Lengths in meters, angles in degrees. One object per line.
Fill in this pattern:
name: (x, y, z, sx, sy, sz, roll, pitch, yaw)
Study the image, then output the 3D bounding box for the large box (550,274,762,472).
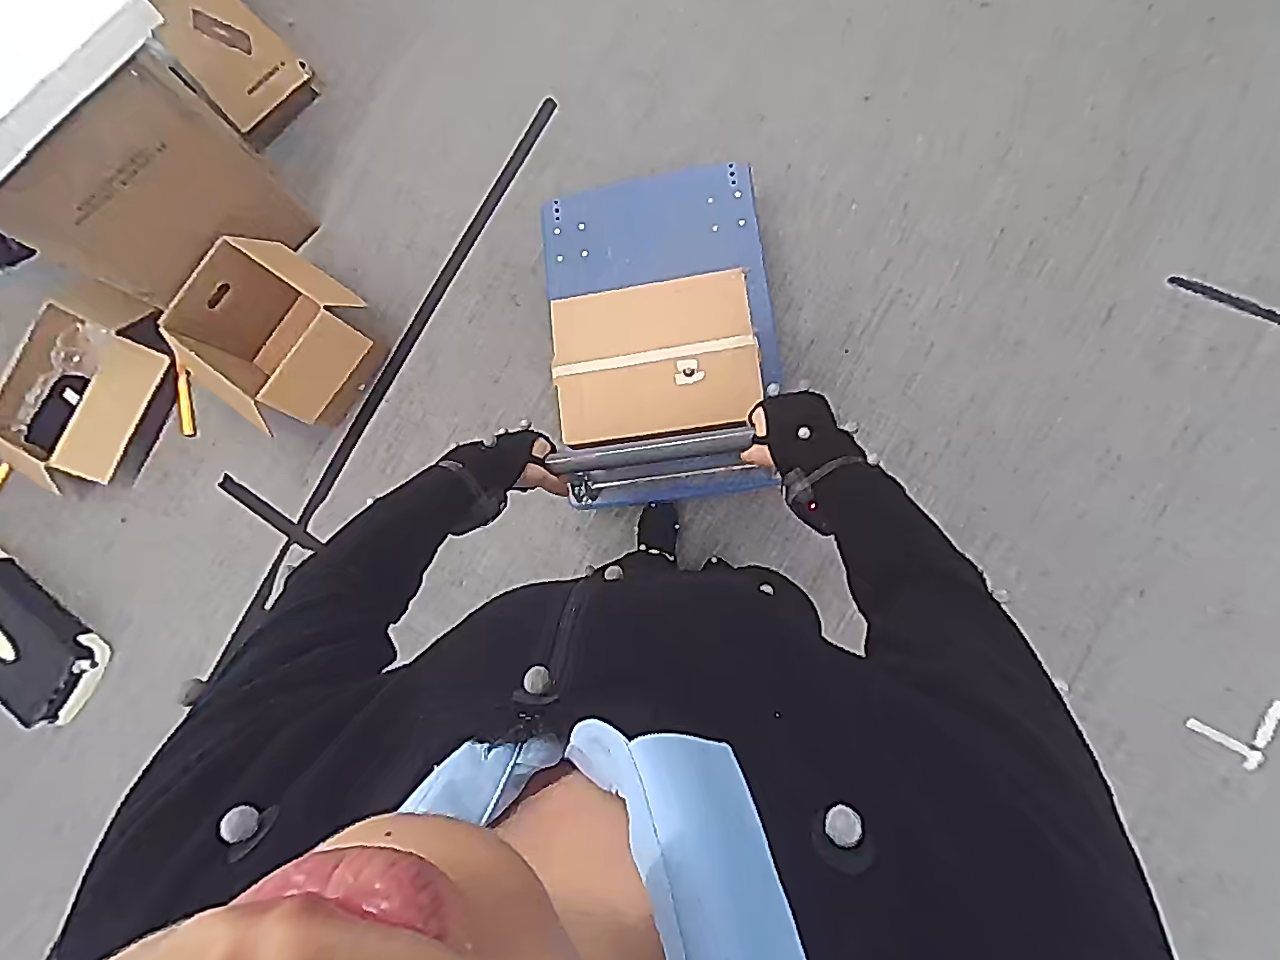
large box: (0.042, -0.216, 1.230, 0.408, 0.320, 0.320, -8, 82, 6)
